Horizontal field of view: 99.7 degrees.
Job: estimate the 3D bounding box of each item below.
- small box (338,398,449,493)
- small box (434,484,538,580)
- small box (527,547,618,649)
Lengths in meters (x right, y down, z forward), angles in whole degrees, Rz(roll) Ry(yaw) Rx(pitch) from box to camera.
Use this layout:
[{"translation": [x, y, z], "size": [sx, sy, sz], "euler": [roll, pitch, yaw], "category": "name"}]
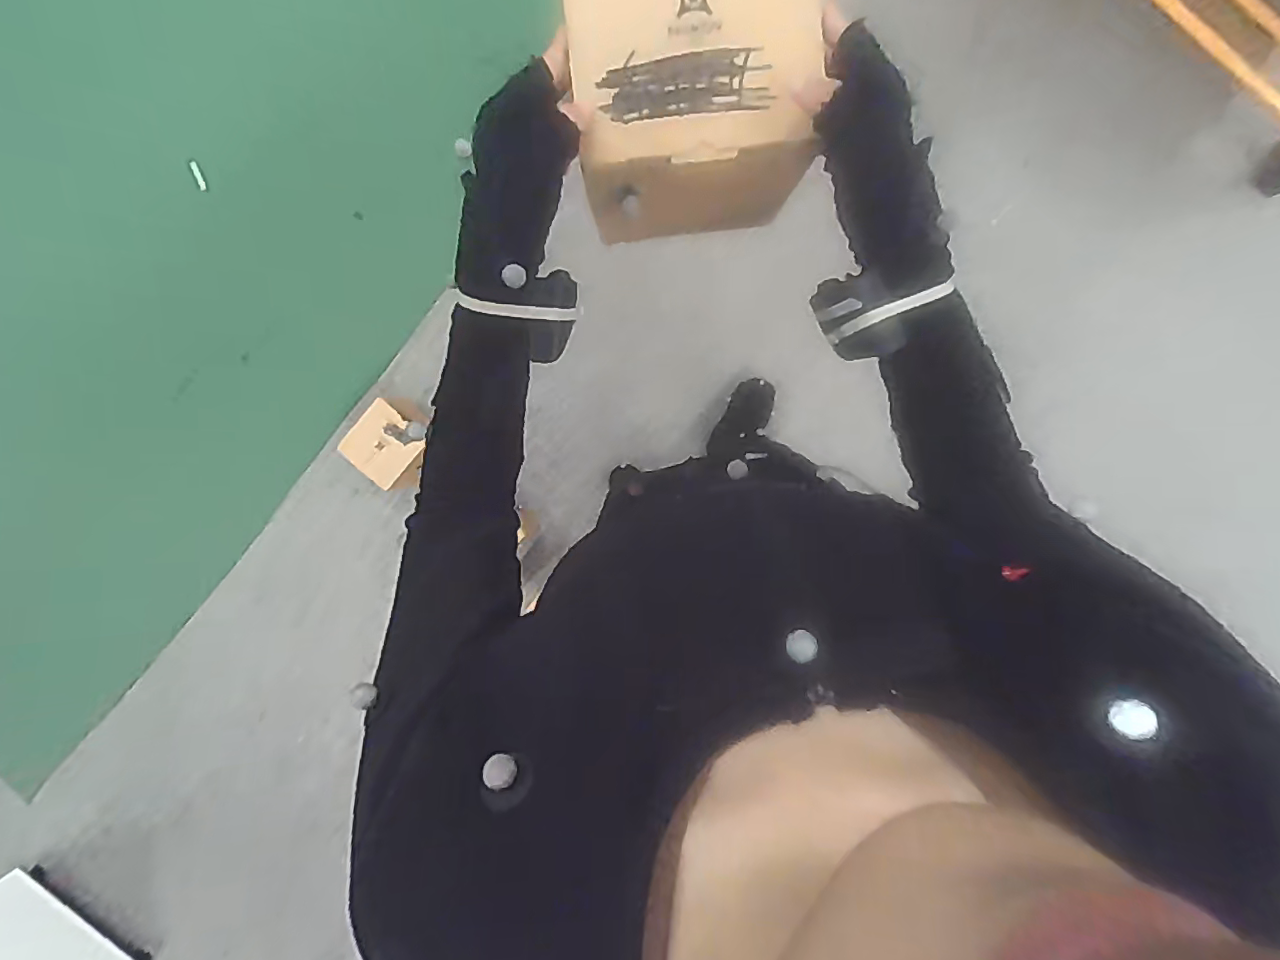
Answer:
[{"translation": [-0.624, -0.092, 1.401], "size": [0.168, 0.176, 0.179], "euler": [42, 95, -2], "category": "small box"}, {"translation": [-0.393, 0.128, 1.414], "size": [0.179, 0.176, 0.168], "euler": [-44, 92, 4], "category": "small box"}, {"translation": [-0.167, 0.302, 1.424], "size": [0.168, 0.176, 0.179], "euler": [37, 93, -4], "category": "small box"}]
